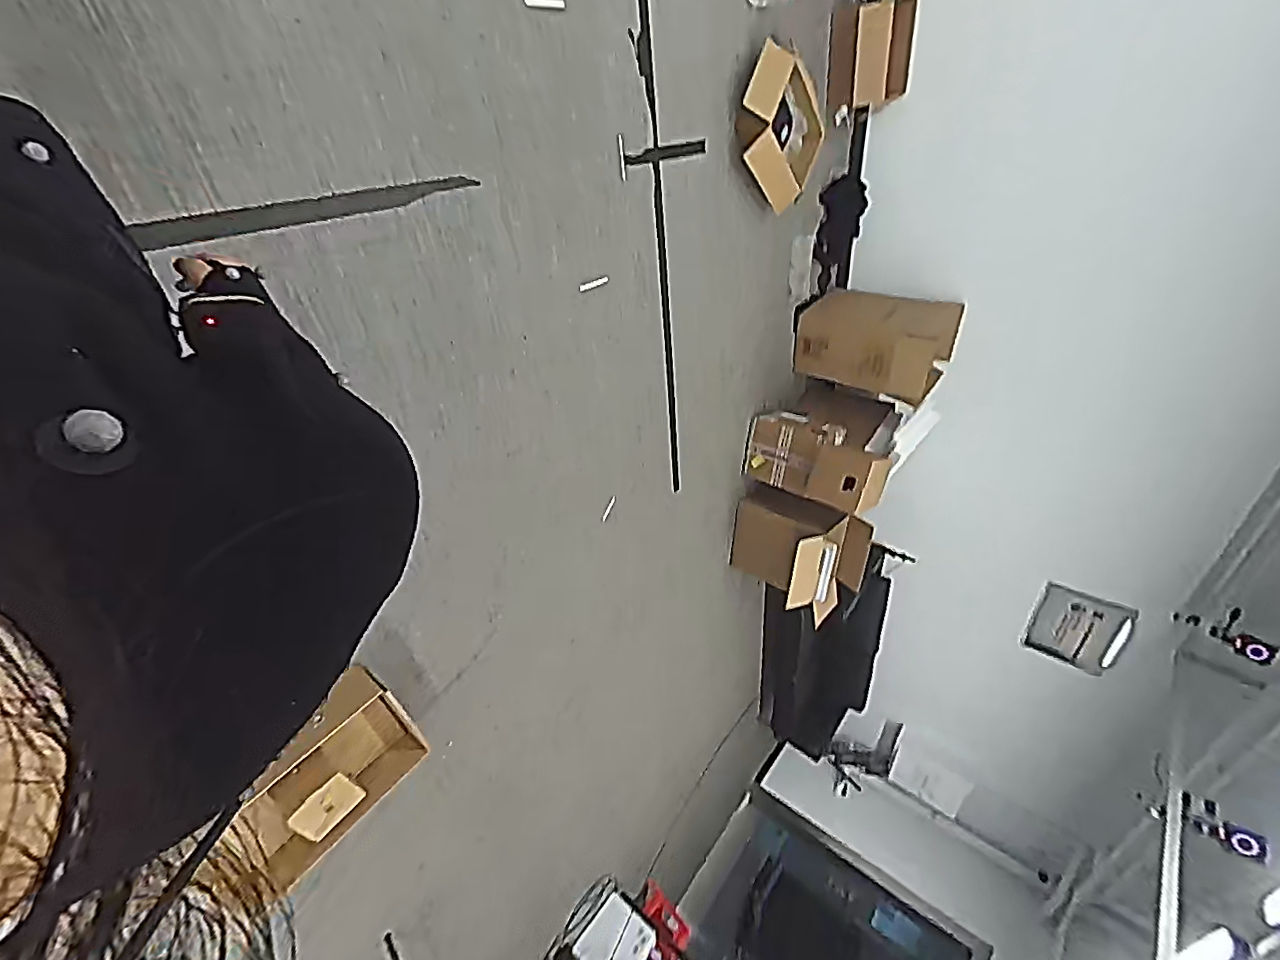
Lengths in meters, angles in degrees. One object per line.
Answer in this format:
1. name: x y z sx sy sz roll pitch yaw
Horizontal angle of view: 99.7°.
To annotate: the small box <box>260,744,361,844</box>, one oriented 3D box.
1. small box: -0.985 0.933 1.619 0.168 0.176 0.179 -43 139 -34
